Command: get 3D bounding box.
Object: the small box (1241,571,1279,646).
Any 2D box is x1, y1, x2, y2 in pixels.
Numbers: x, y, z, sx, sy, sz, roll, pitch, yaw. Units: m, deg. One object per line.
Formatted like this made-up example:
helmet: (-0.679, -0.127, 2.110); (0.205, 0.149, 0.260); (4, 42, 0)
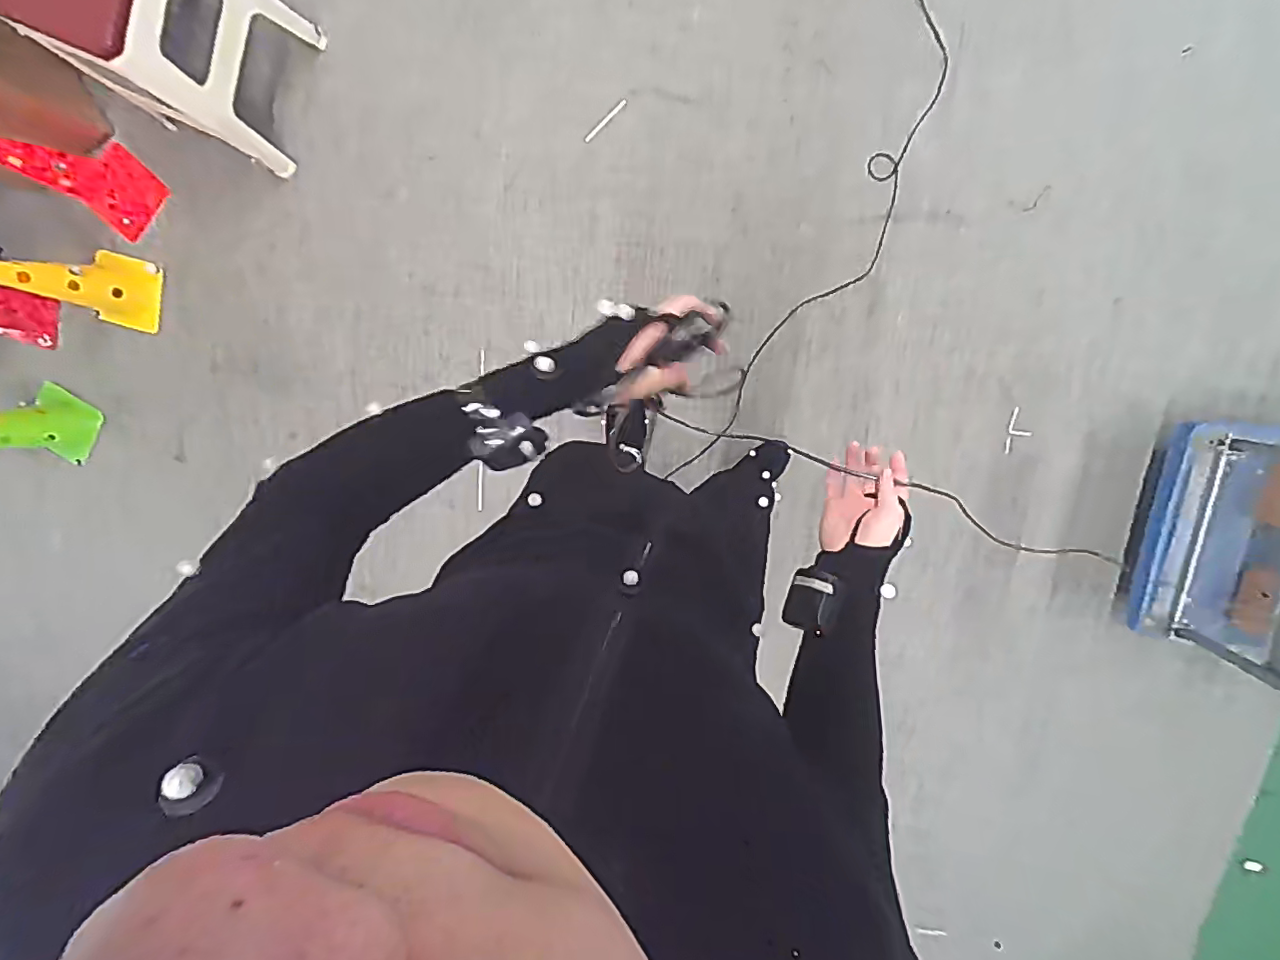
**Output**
small box: (1.633, 0.329, 1.294); (0.179, 0.176, 0.168); (6, 101, 4)
